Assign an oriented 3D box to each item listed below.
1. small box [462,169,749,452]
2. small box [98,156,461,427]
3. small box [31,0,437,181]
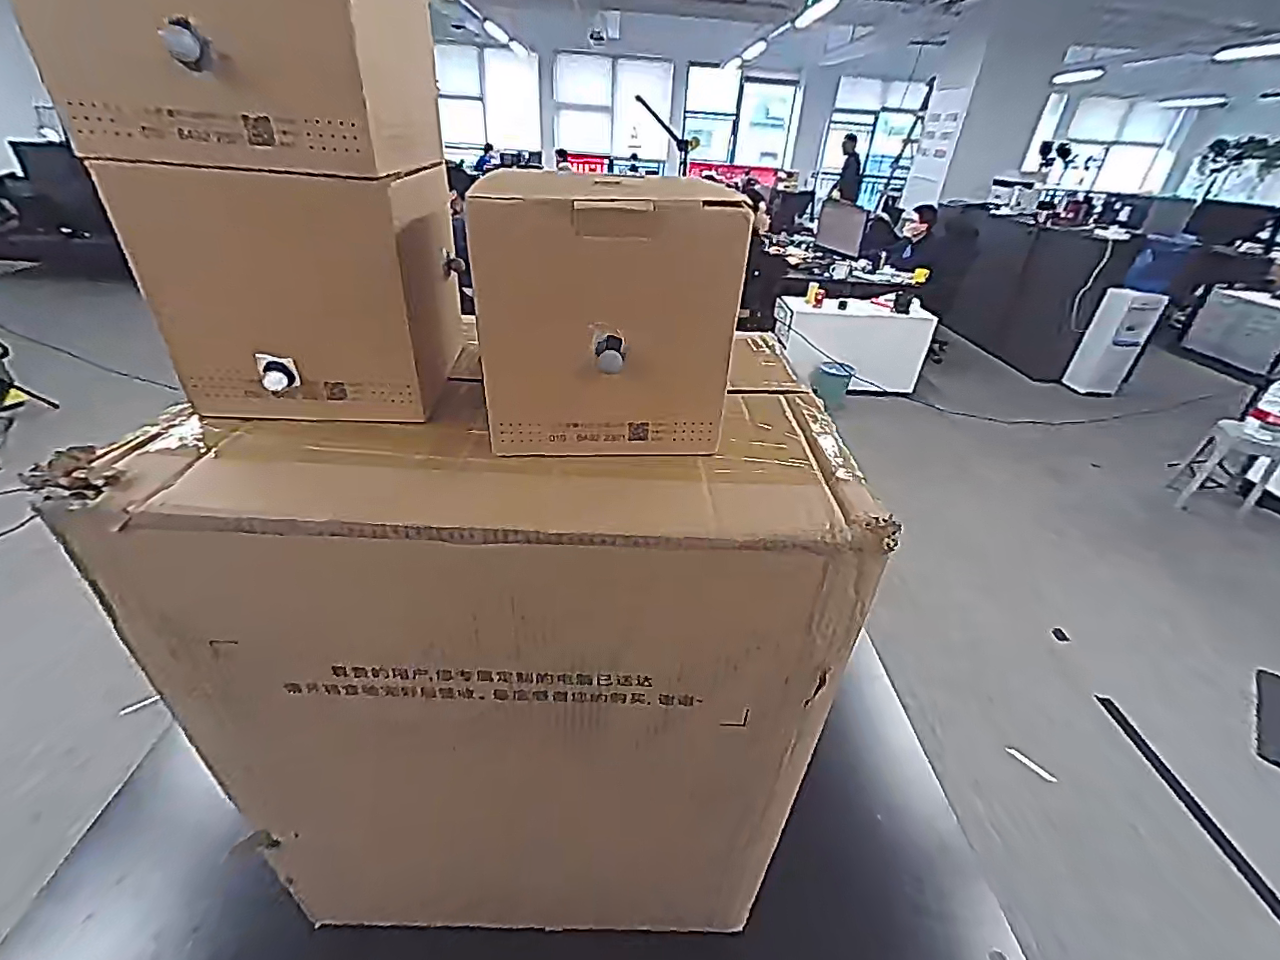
[{"bbox_3d":[-0.028,-0.131,0.413,0.168,0.176,0.179,-1,34,-7],"label":"small box"},{"bbox_3d":[-0.244,-0.156,0.429,0.168,0.176,0.179,-1,34,-7],"label":"small box"},{"bbox_3d":[-0.235,-0.294,0.338,0.168,0.176,0.179,1,33,-5],"label":"small box"}]
